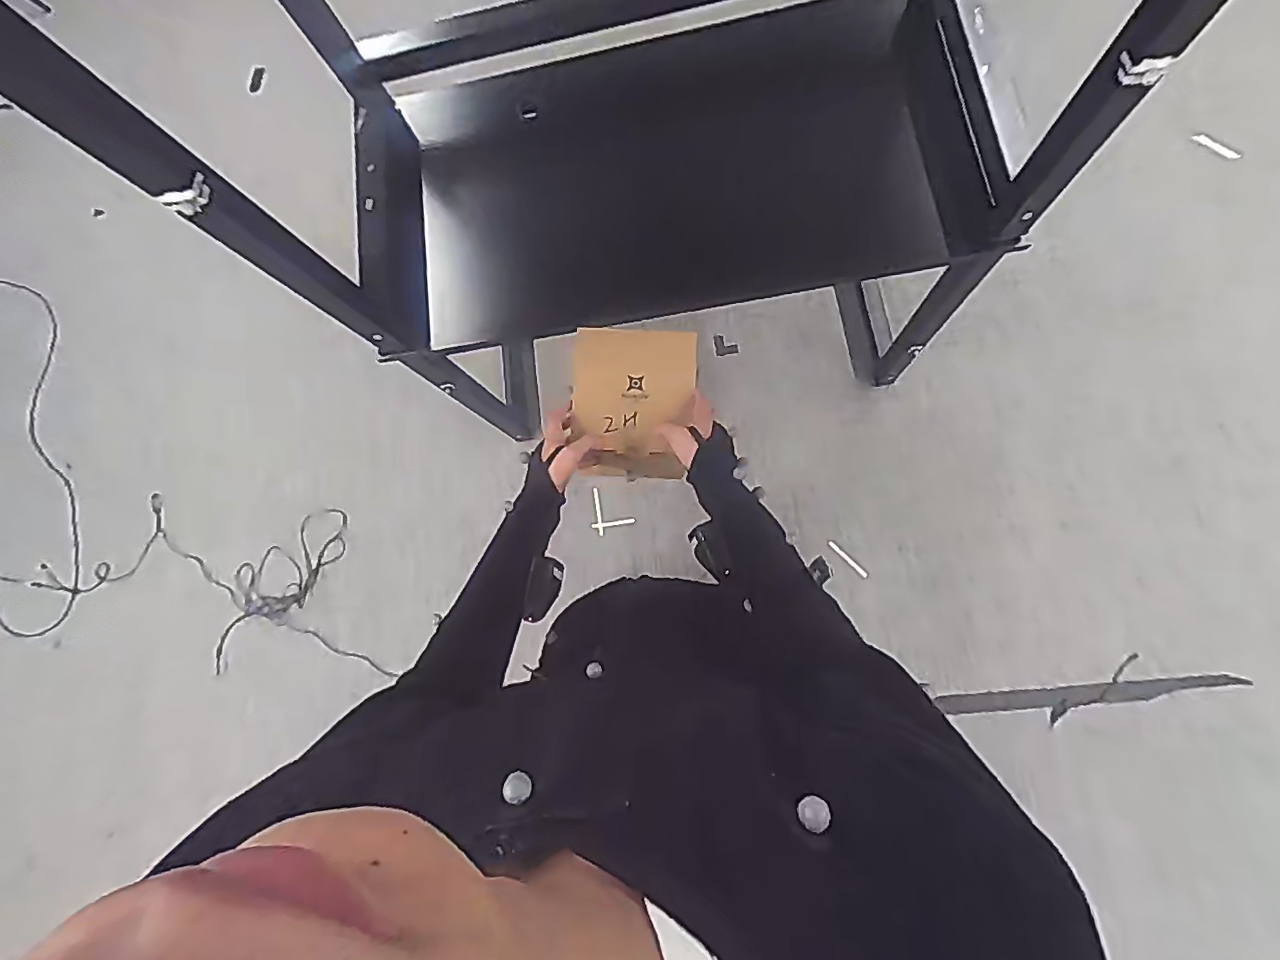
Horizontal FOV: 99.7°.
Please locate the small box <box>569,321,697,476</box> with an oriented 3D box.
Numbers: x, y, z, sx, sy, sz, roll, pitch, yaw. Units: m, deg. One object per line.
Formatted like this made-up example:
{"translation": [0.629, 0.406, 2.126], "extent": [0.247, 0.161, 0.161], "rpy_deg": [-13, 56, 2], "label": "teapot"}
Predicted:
{"translation": [-0.010, -0.111, 0.795], "extent": [0.168, 0.176, 0.179], "rpy_deg": [2, 80, -1], "label": "small box"}
